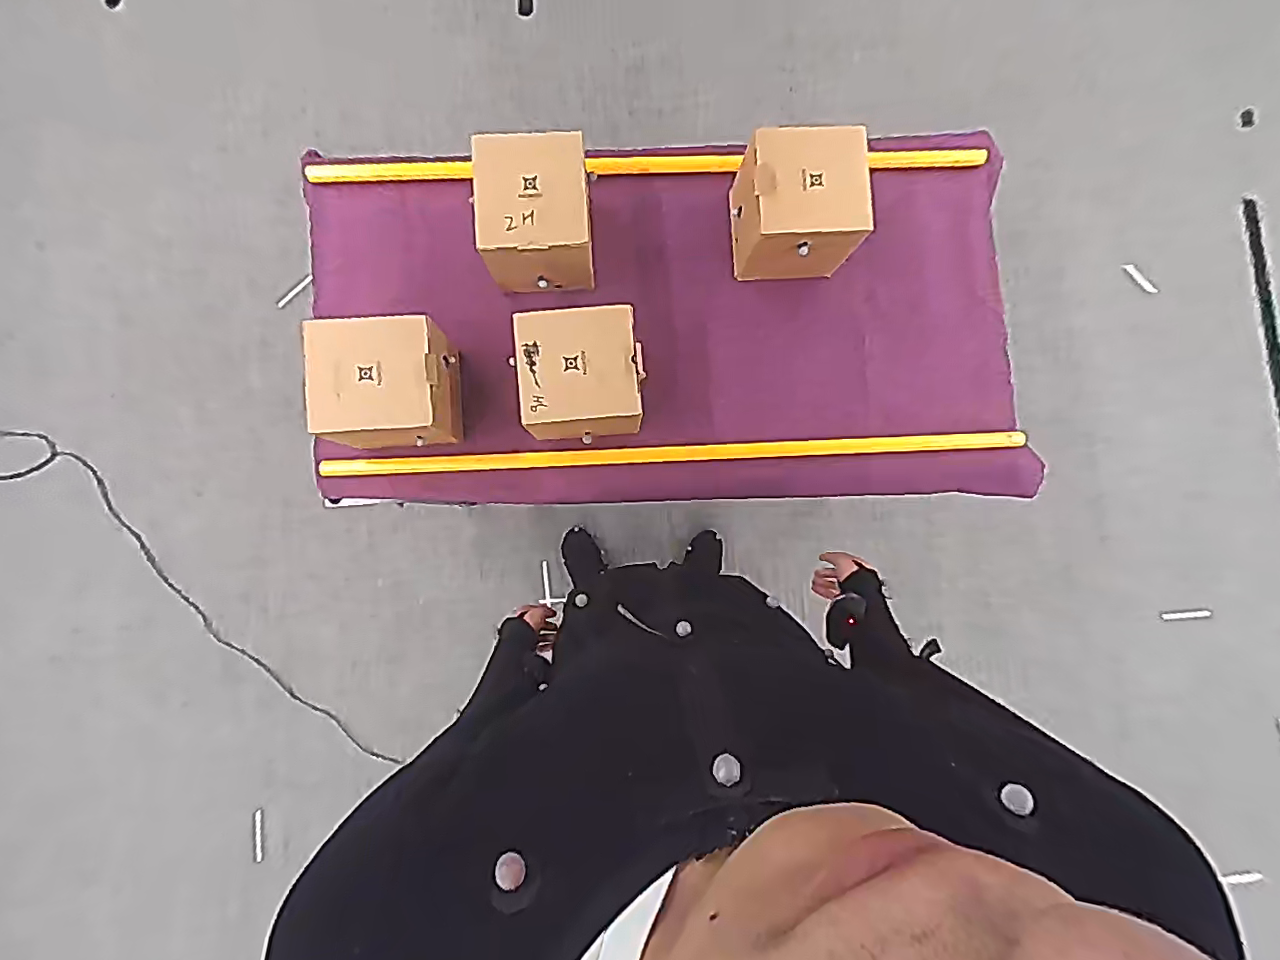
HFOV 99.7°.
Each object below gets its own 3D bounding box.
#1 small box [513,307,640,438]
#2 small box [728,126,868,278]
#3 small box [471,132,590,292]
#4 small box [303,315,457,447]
[{"bbox_3d":[-0.097,-0.162,0.861,0.179,0.176,0.168,-5,86,-3],"label":"small box"},{"bbox_3d":[0.253,-0.450,0.896,0.179,0.176,0.168,-3,87,-2],"label":"small box"},{"bbox_3d":[-0.169,-0.424,0.876,0.168,0.176,0.179,-3,88,-2],"label":"small box"},{"bbox_3d":[-0.392,-0.146,0.846,0.179,0.176,0.168,-4,86,-5],"label":"small box"}]
